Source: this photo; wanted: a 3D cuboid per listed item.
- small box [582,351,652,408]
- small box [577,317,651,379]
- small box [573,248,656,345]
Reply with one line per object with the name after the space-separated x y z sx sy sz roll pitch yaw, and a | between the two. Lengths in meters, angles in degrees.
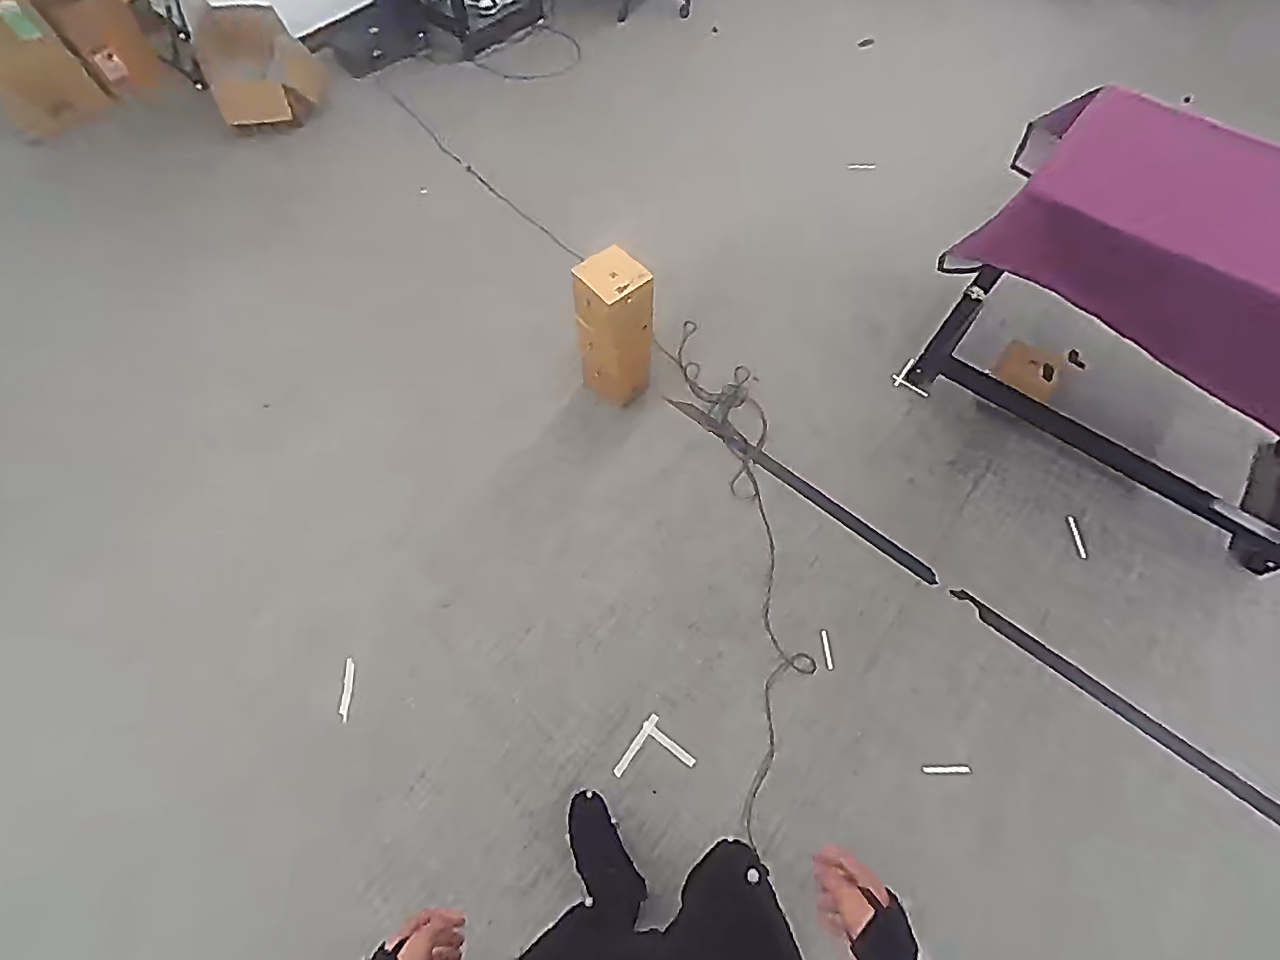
-0.077 -0.380 1.852 0.179 0.176 0.168 38 69 16 | small box
-0.074 -0.453 1.708 0.168 0.176 0.179 39 69 17 | small box
-0.072 -0.525 1.560 0.168 0.176 0.179 -37 68 -18 | small box
